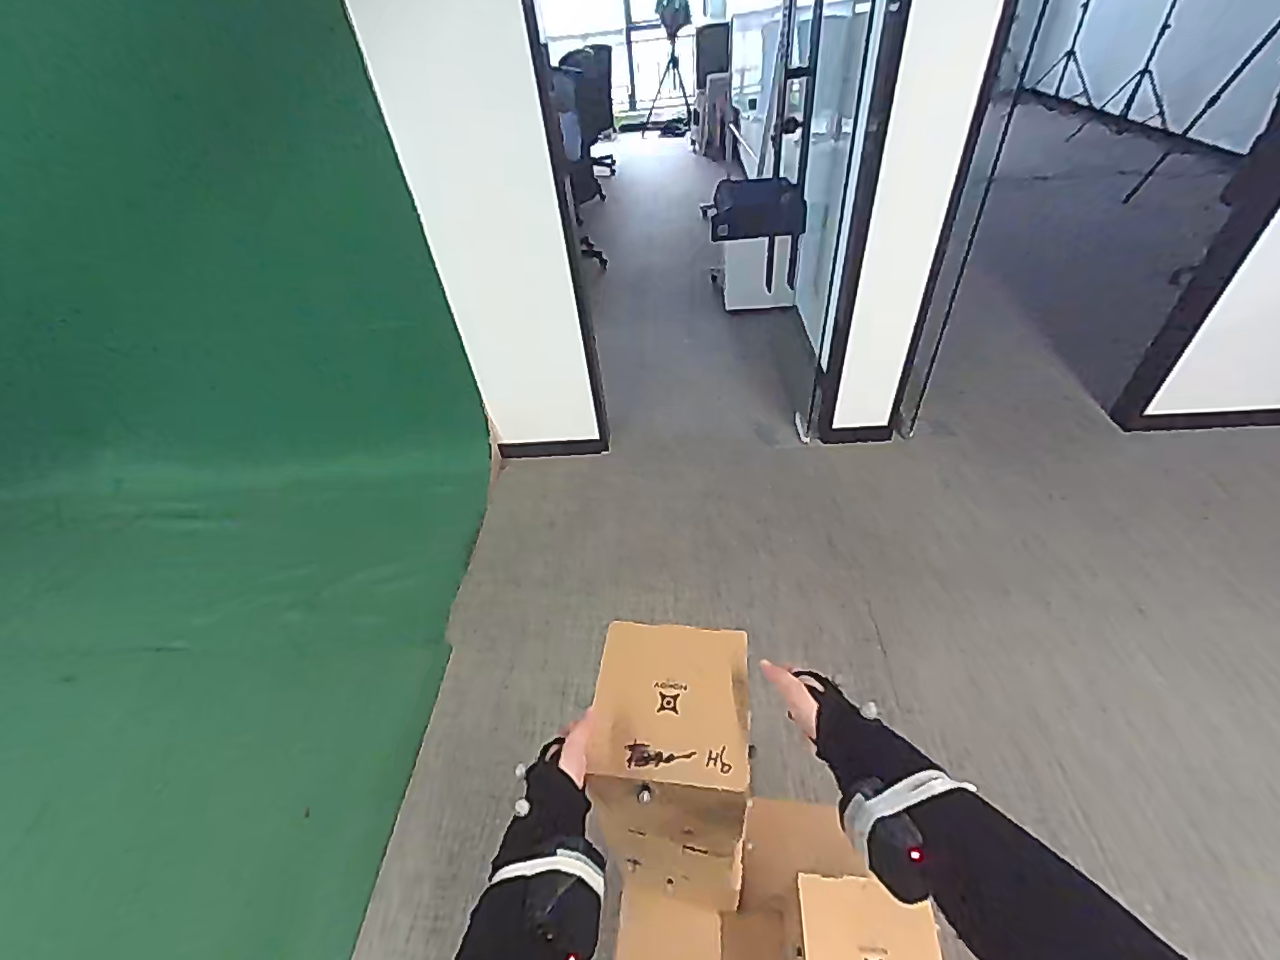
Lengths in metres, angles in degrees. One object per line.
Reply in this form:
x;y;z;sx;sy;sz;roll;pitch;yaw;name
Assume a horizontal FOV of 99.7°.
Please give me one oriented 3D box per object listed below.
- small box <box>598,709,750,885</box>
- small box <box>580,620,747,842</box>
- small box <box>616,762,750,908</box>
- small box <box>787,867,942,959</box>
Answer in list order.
0.056;0.417;0.740;0.168;0.176;0.179;7;42;14;small box
0.039;0.290;0.635;0.168;0.176;0.179;1;42;10;small box
0.074;0.540;0.848;0.179;0.176;0.168;6;44;12;small box
0.290;0.639;0.710;0.168;0.176;0.179;0;43;7;small box
